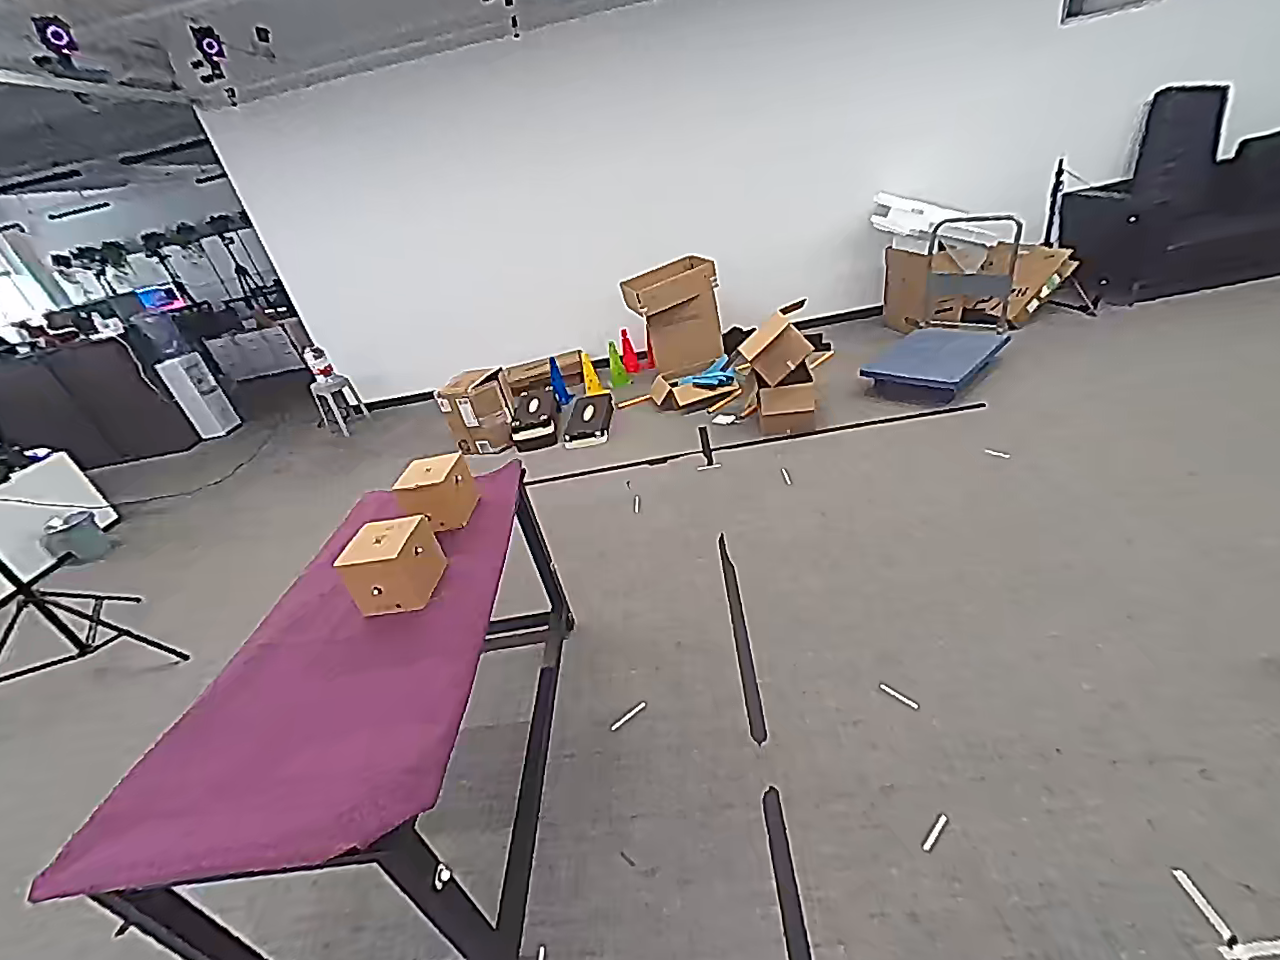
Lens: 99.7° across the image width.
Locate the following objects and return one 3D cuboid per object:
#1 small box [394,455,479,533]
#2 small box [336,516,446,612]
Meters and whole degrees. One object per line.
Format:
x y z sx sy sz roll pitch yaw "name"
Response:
-0.612 0.045 1.656 0.168 0.176 0.179 -9 31 8 "small box"
-0.616 0.218 1.368 0.168 0.176 0.179 -8 30 8 "small box"
